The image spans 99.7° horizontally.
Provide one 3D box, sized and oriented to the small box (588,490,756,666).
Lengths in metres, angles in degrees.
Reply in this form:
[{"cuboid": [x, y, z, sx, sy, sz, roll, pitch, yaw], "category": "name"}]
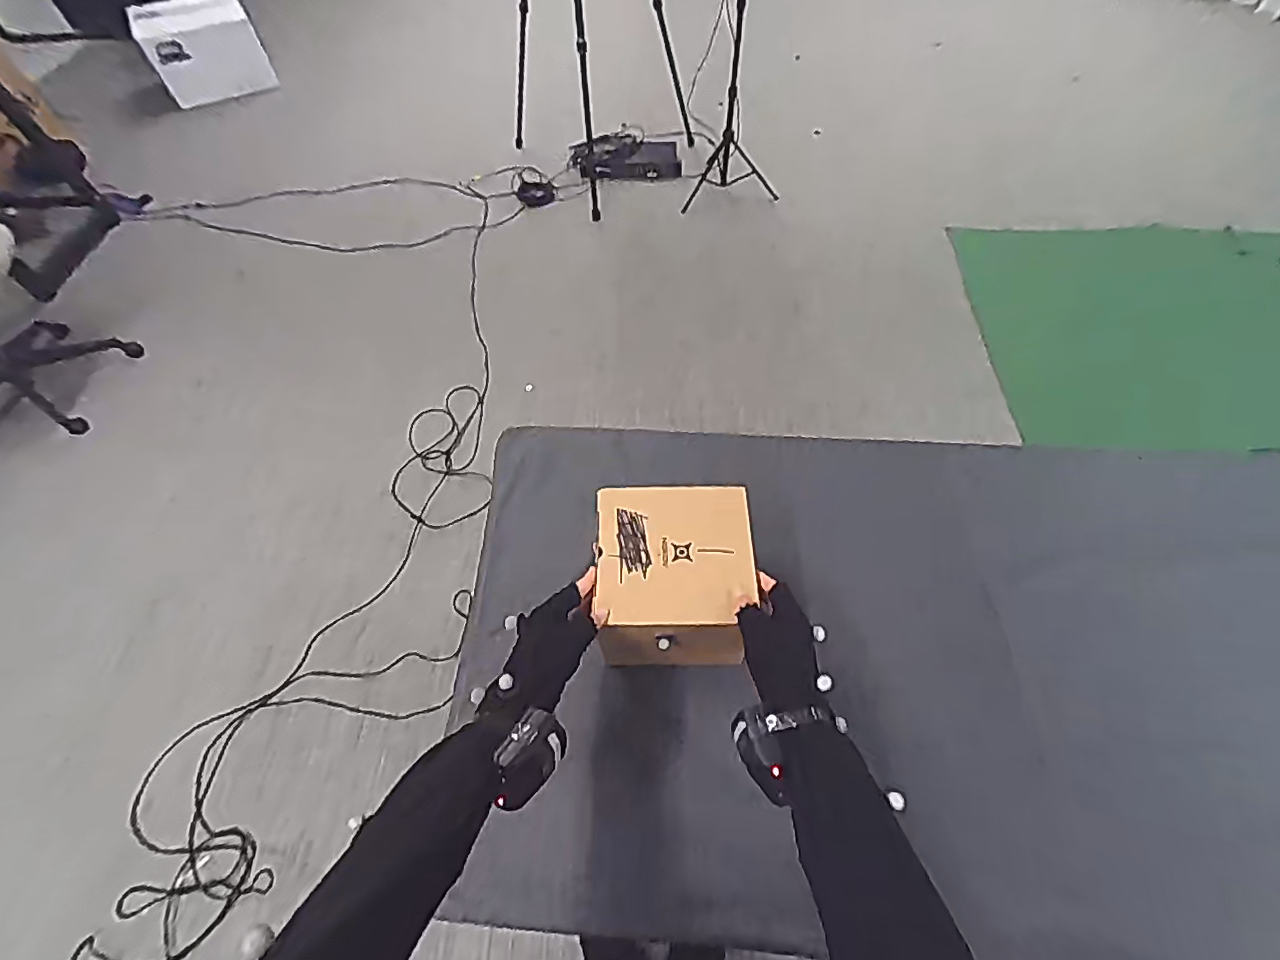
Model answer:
[{"cuboid": [0.035, 0.125, 0.661, 0.179, 0.176, 0.168, 0, 58, 1], "category": "small box"}]
